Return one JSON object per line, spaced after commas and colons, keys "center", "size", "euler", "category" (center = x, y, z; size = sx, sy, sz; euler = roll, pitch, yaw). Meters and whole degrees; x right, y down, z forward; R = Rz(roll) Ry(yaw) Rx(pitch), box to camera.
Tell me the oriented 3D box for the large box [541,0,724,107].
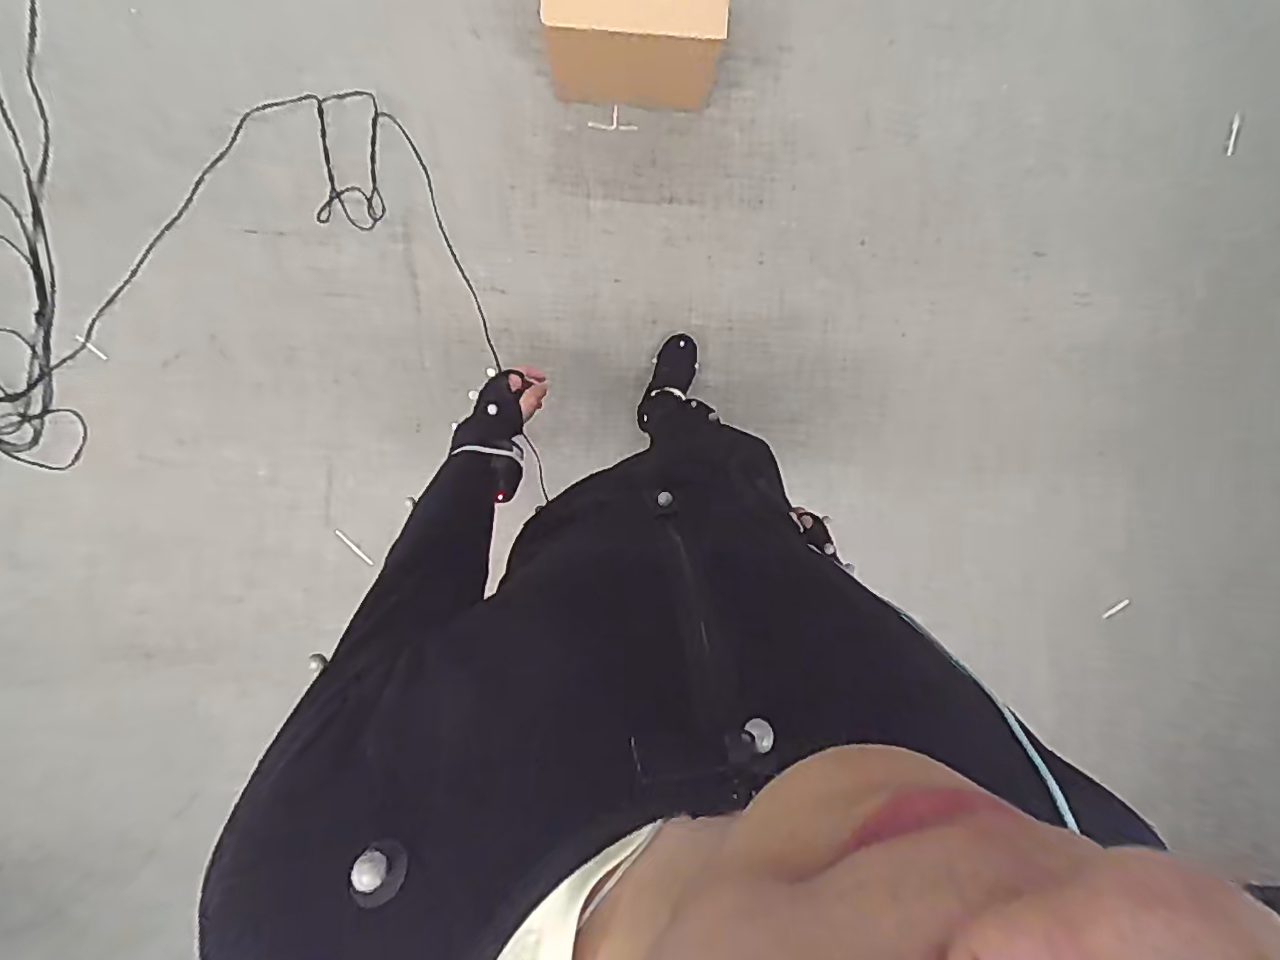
{"center": [-0.022, -1.145, 1.296], "size": [0.408, 0.320, 0.320], "euler": [1, 99, -3], "category": "large box"}
